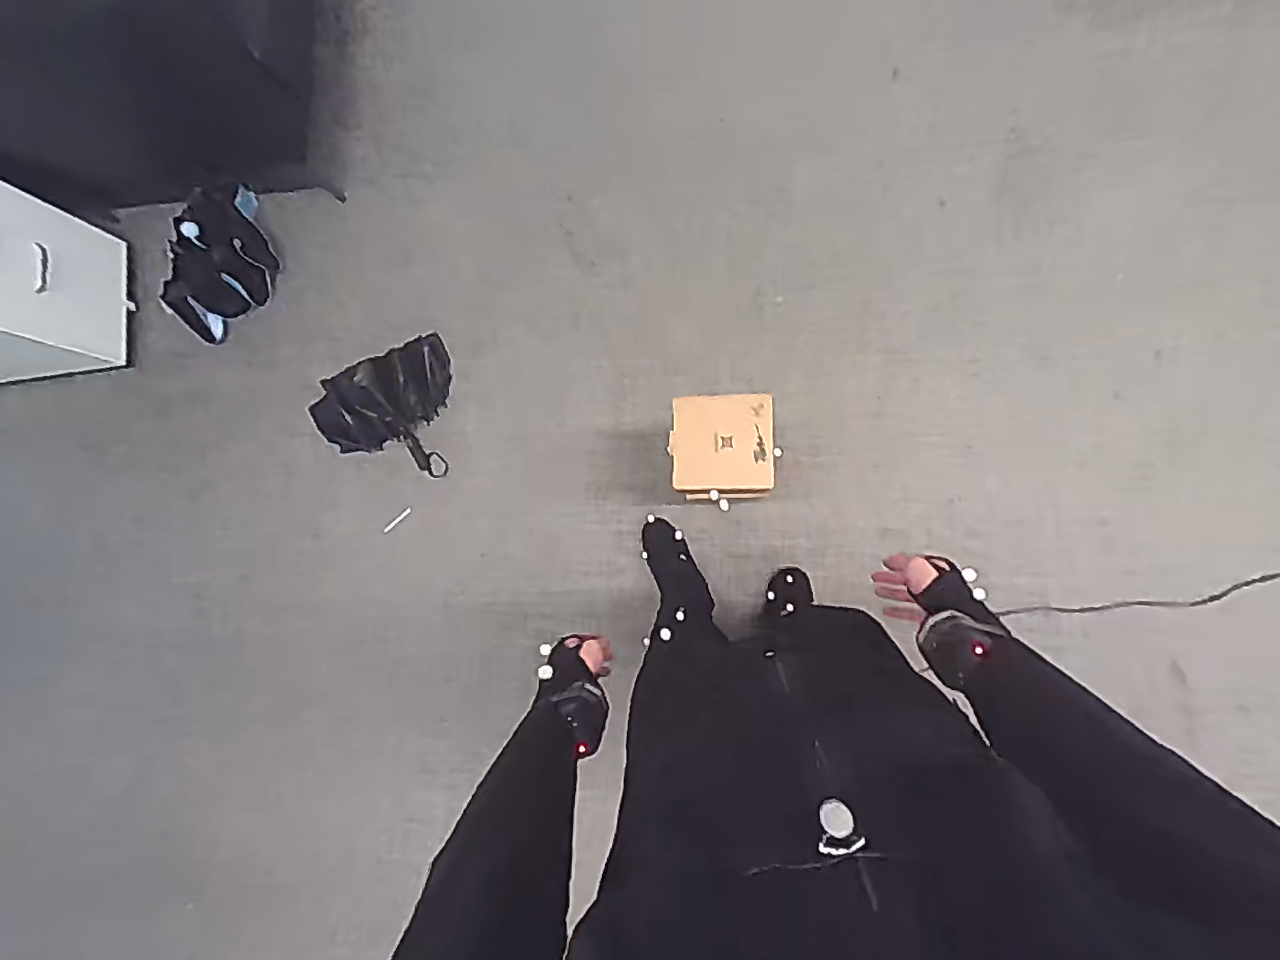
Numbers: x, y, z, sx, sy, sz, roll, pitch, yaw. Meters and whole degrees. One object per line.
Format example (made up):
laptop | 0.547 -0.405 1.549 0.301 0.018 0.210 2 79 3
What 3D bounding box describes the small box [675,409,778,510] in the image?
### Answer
small box | 0.164 -0.031 1.016 0.179 0.176 0.168 -1 84 10
